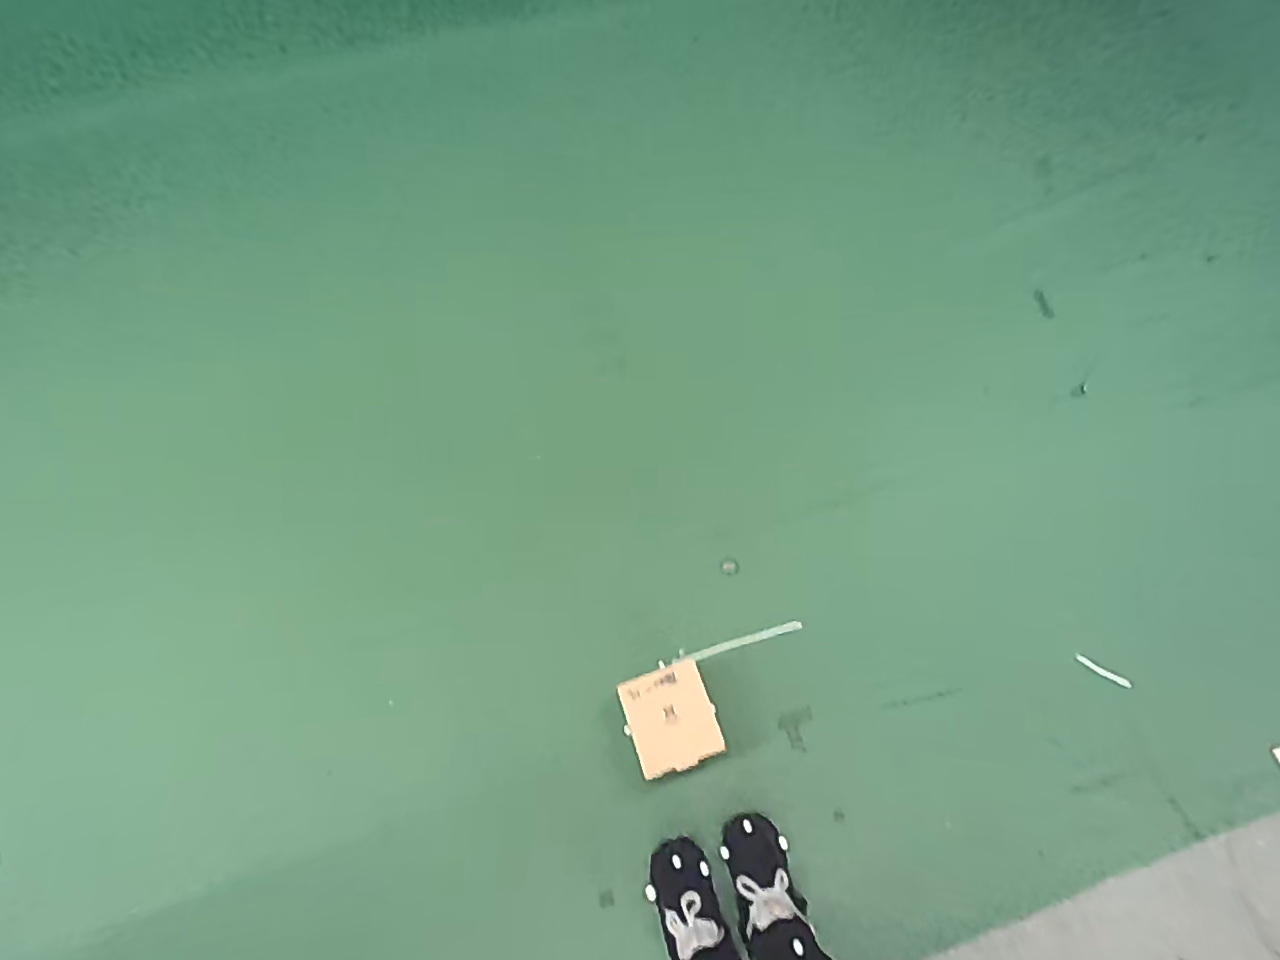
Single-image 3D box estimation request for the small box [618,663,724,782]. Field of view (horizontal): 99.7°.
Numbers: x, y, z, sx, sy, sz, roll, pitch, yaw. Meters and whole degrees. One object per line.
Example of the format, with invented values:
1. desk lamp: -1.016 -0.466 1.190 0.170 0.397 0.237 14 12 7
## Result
1. small box: 0.060 0.490 1.116 0.168 0.176 0.179 -17 70 -6
